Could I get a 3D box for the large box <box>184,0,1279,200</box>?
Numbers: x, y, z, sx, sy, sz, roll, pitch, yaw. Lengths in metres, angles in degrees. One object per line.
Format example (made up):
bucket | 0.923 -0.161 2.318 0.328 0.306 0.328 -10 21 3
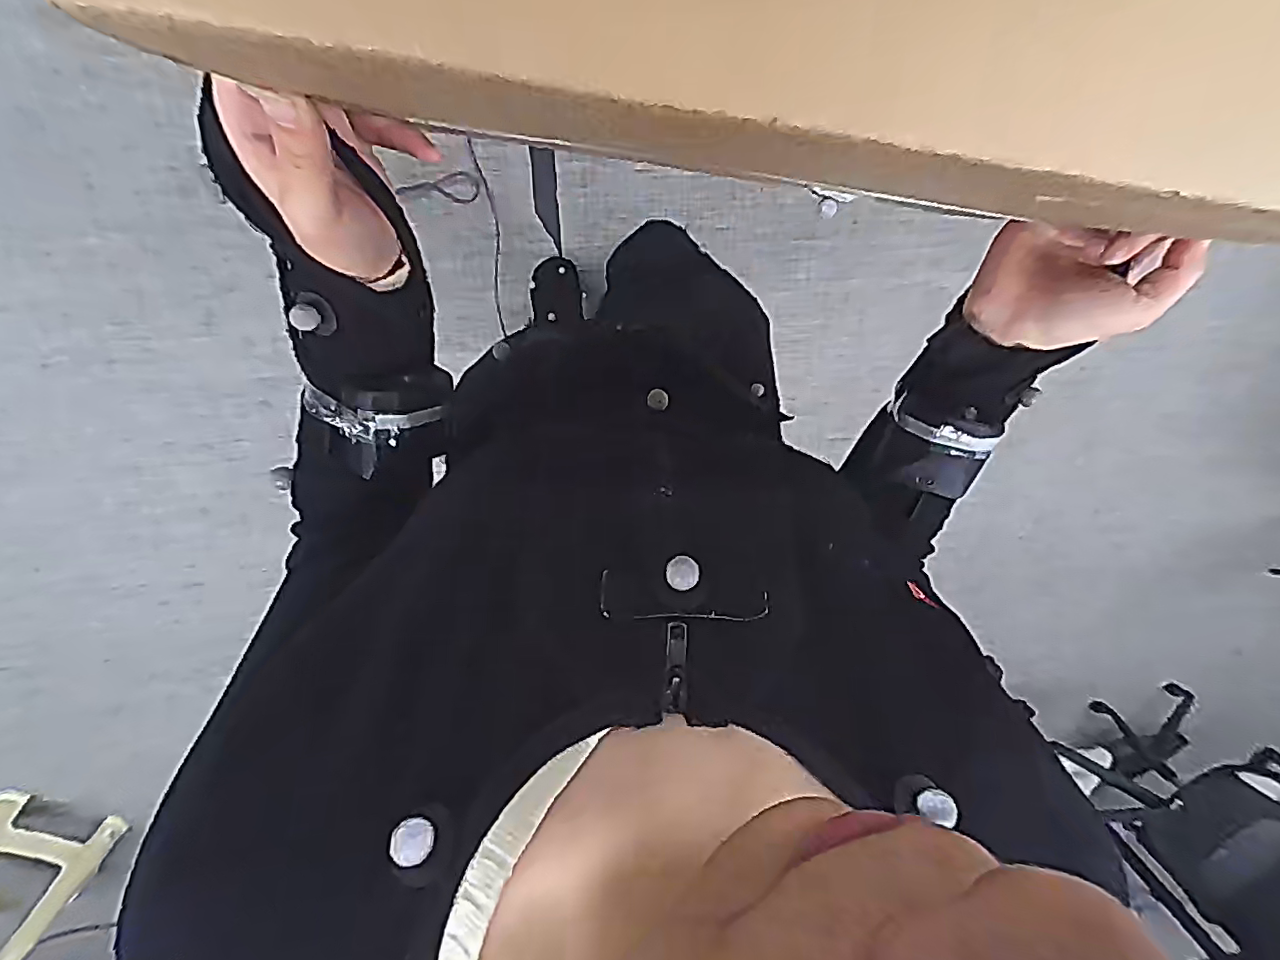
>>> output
large box | 0.075 -0.301 0.188 0.408 0.320 0.320 2 120 -10
